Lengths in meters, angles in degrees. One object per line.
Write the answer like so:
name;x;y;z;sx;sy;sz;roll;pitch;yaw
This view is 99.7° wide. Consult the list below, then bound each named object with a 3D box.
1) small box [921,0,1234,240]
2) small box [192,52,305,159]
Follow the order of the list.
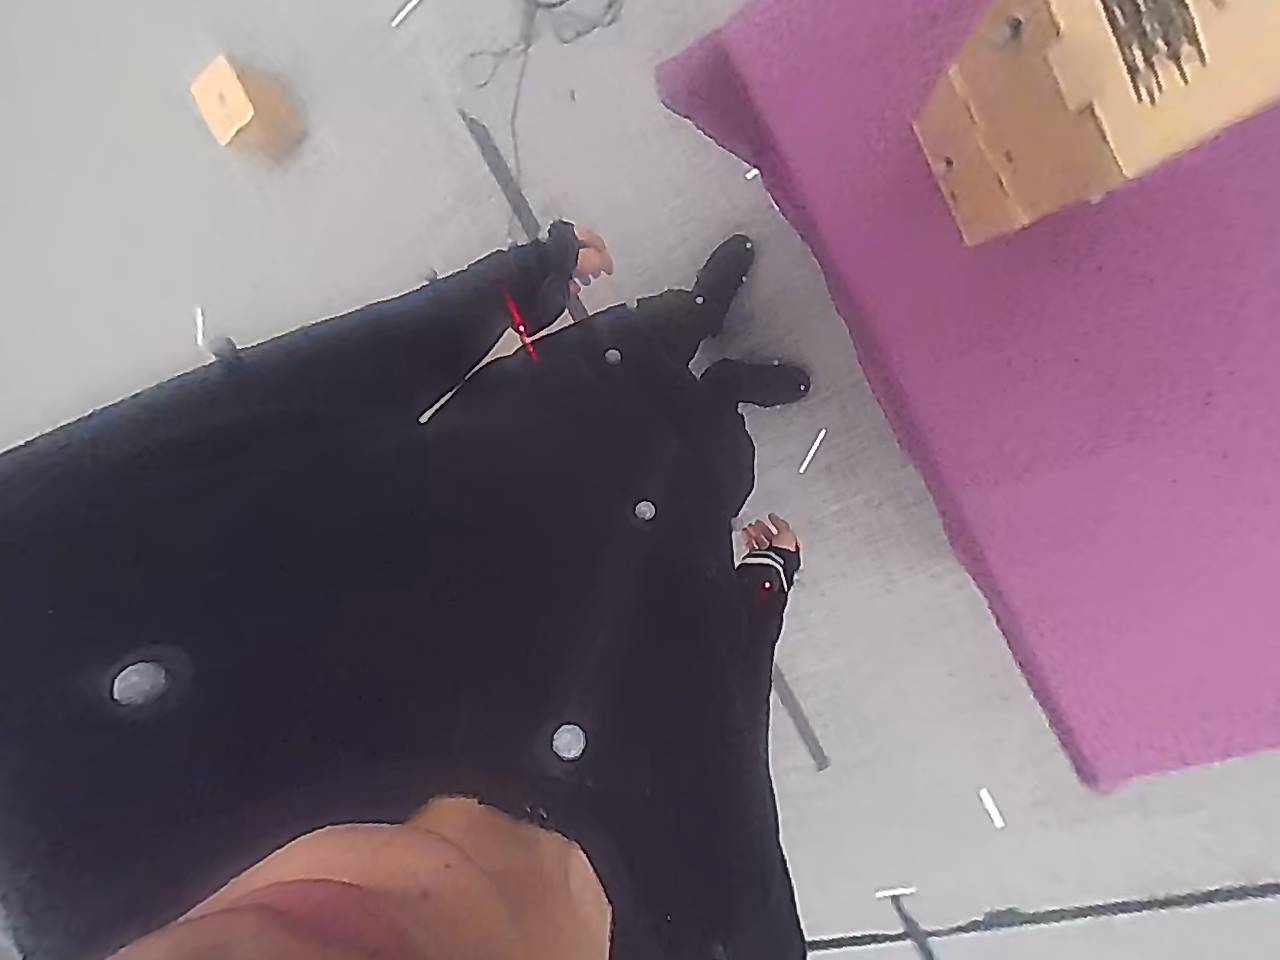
small box;0.425;-0.376;0.561;0.179;0.176;0.168;-27;98;22
small box;-1.136;-1.081;1.579;0.168;0.176;0.179;-22;100;22
